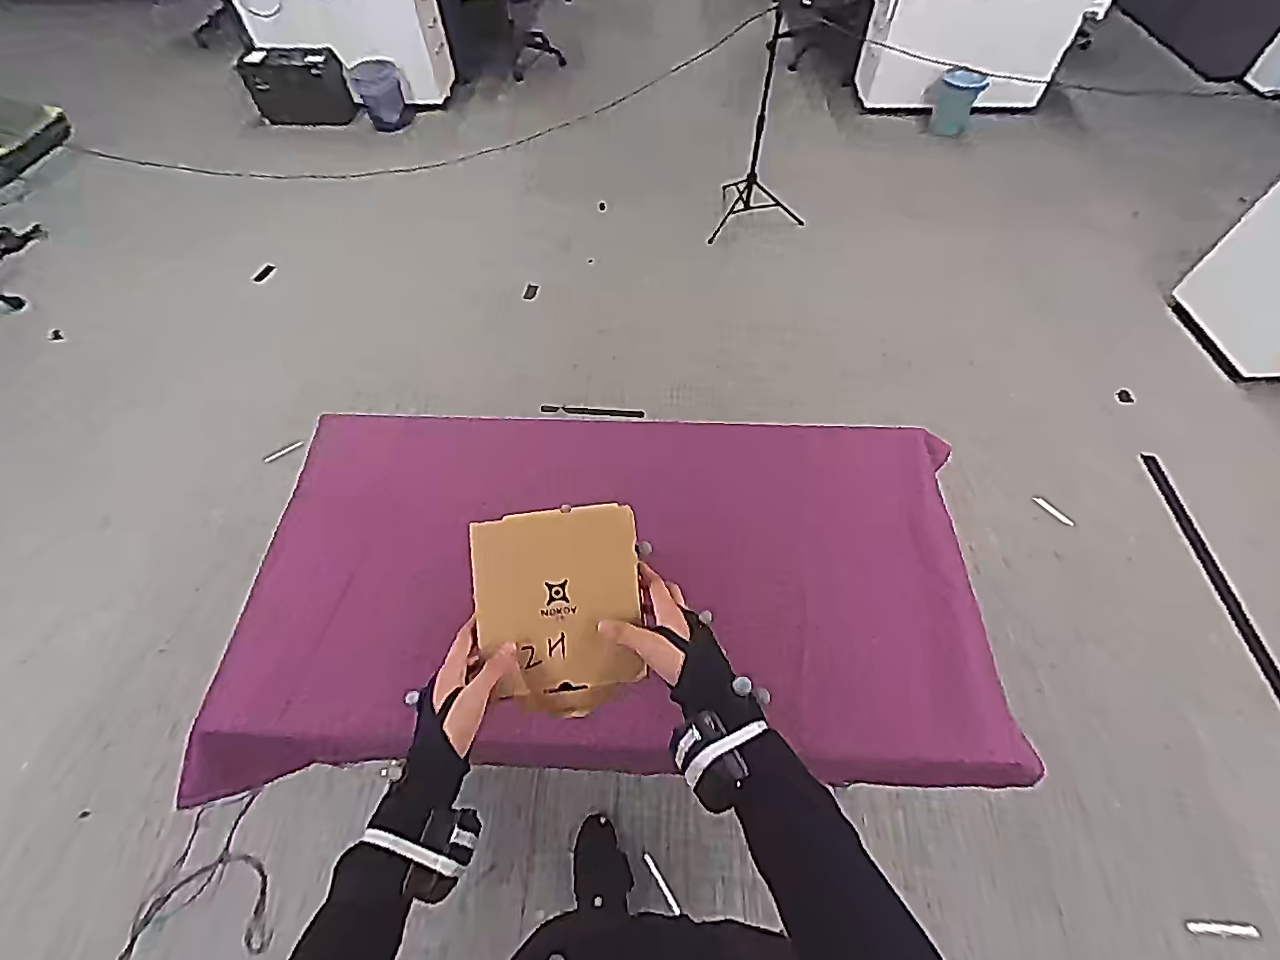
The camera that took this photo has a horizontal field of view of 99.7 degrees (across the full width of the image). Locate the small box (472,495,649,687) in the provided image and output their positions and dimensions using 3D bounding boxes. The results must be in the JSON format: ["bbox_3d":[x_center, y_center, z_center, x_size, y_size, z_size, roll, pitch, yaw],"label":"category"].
[{"bbox_3d":[-0.081,0.119,0.616,0.168,0.176,0.179,-7,84,1],"label":"small box"}]
